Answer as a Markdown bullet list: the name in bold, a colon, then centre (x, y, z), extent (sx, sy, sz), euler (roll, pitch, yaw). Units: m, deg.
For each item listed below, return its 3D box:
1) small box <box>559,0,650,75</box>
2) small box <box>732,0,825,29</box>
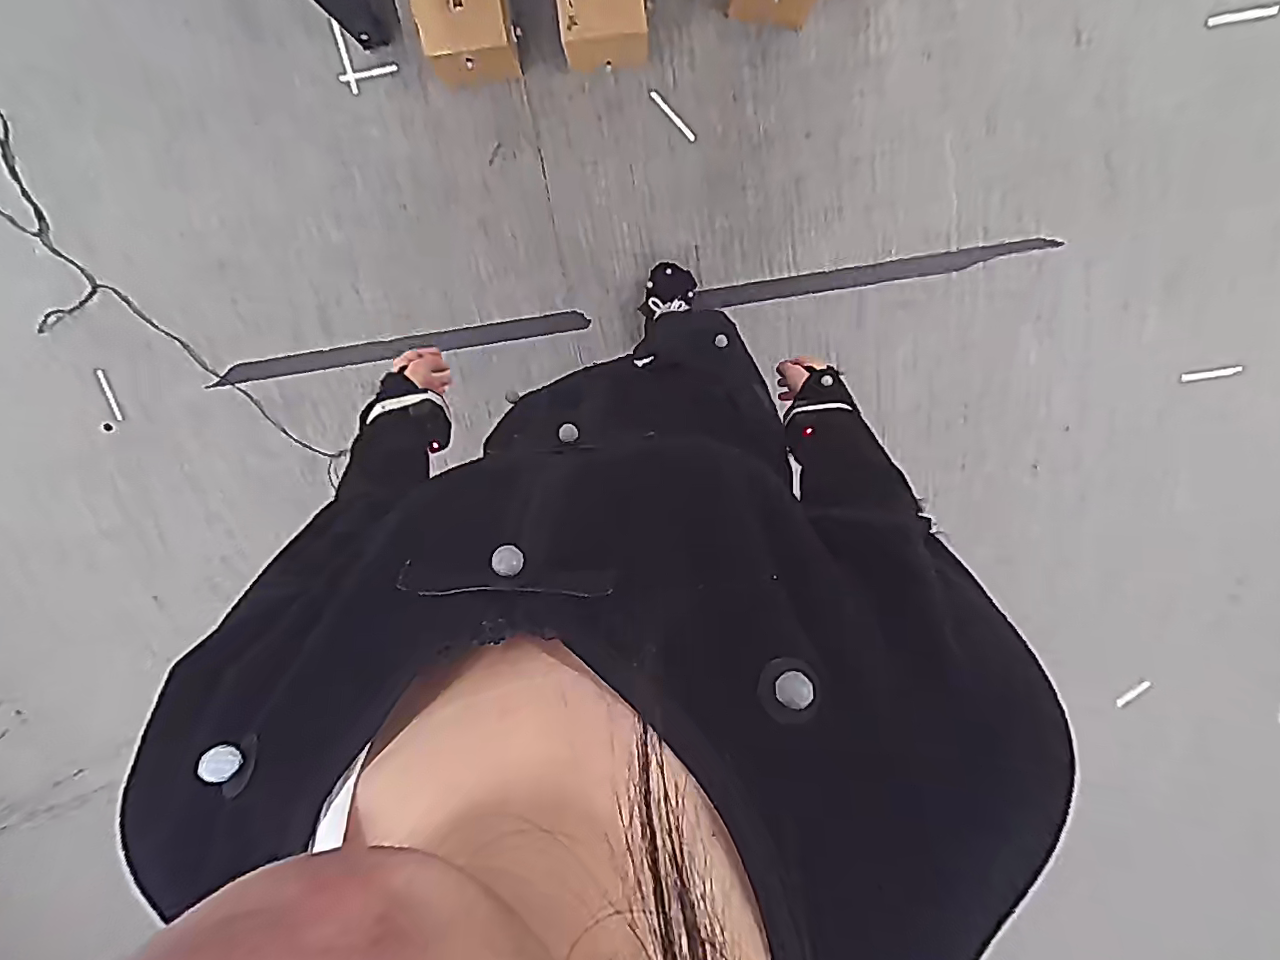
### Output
- **small box**: centre (-0.073, -0.977, 1.126), extent (0.179, 0.176, 0.168), euler (-5, 108, 2)
- **small box**: centre (0.297, -1.060, 1.100), extent (0.179, 0.176, 0.168), euler (8, 108, -1)
